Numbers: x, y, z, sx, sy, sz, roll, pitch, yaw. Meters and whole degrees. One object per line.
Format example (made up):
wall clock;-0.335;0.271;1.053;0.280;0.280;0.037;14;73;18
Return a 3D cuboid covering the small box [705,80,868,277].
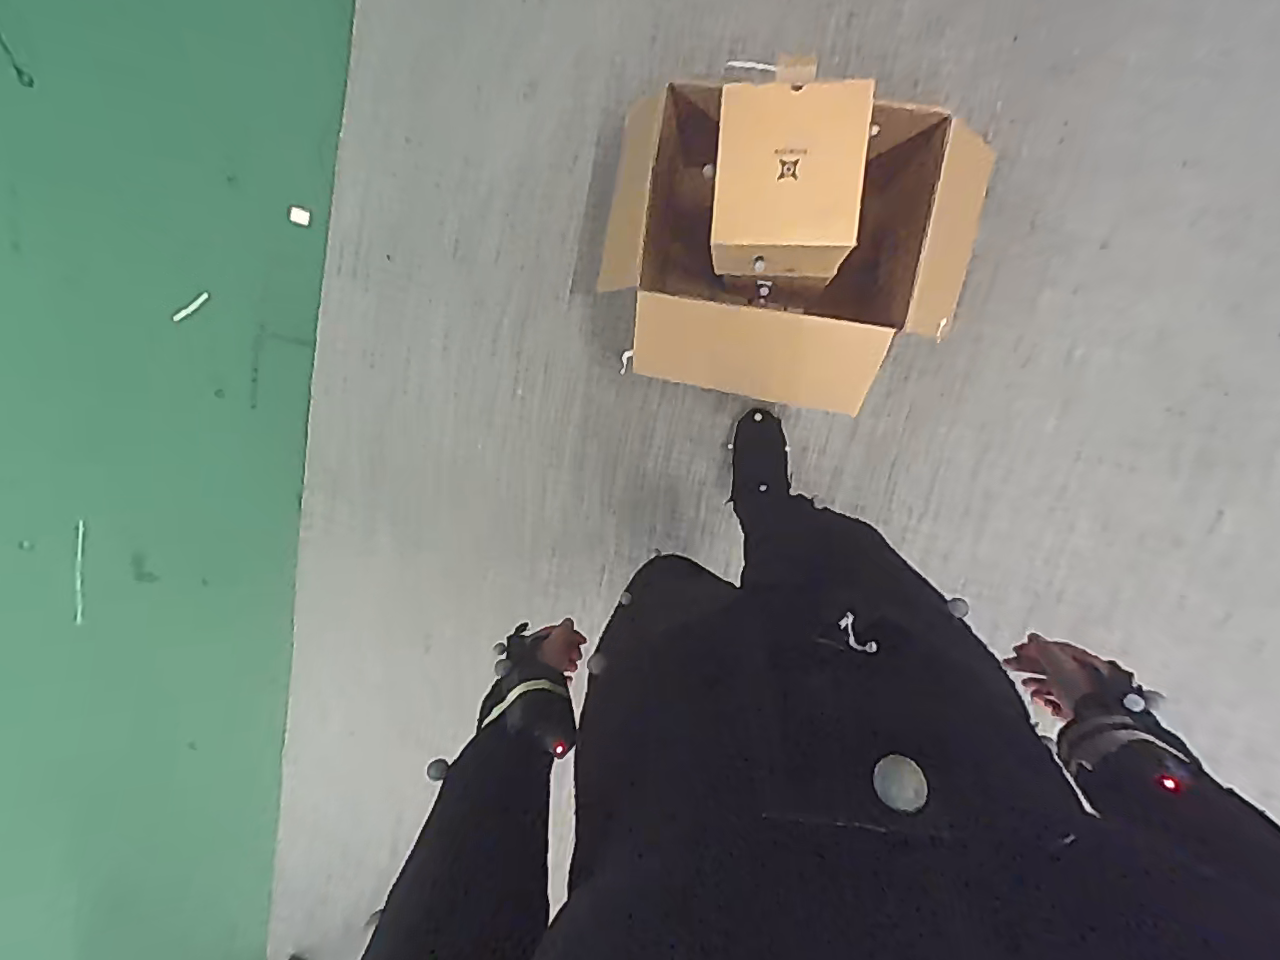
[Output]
small box;0.177;-0.366;0.690;0.168;0.176;0.179;5;98;9
